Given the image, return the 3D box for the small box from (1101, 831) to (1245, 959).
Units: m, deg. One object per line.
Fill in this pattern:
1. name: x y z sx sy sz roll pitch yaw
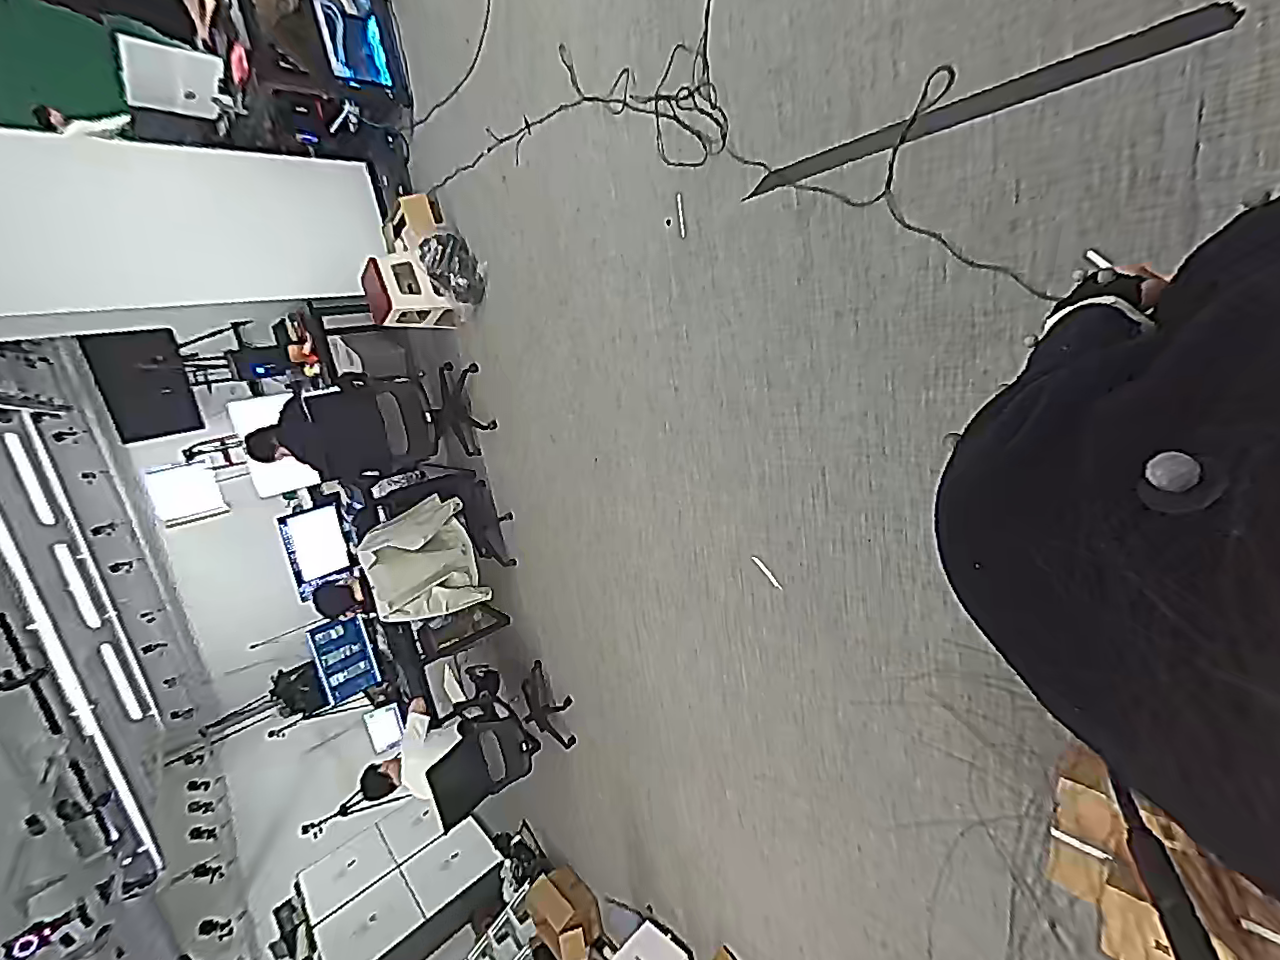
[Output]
1. small box: 1.001 0.815 1.018 0.179 0.176 0.168 6 109 50
